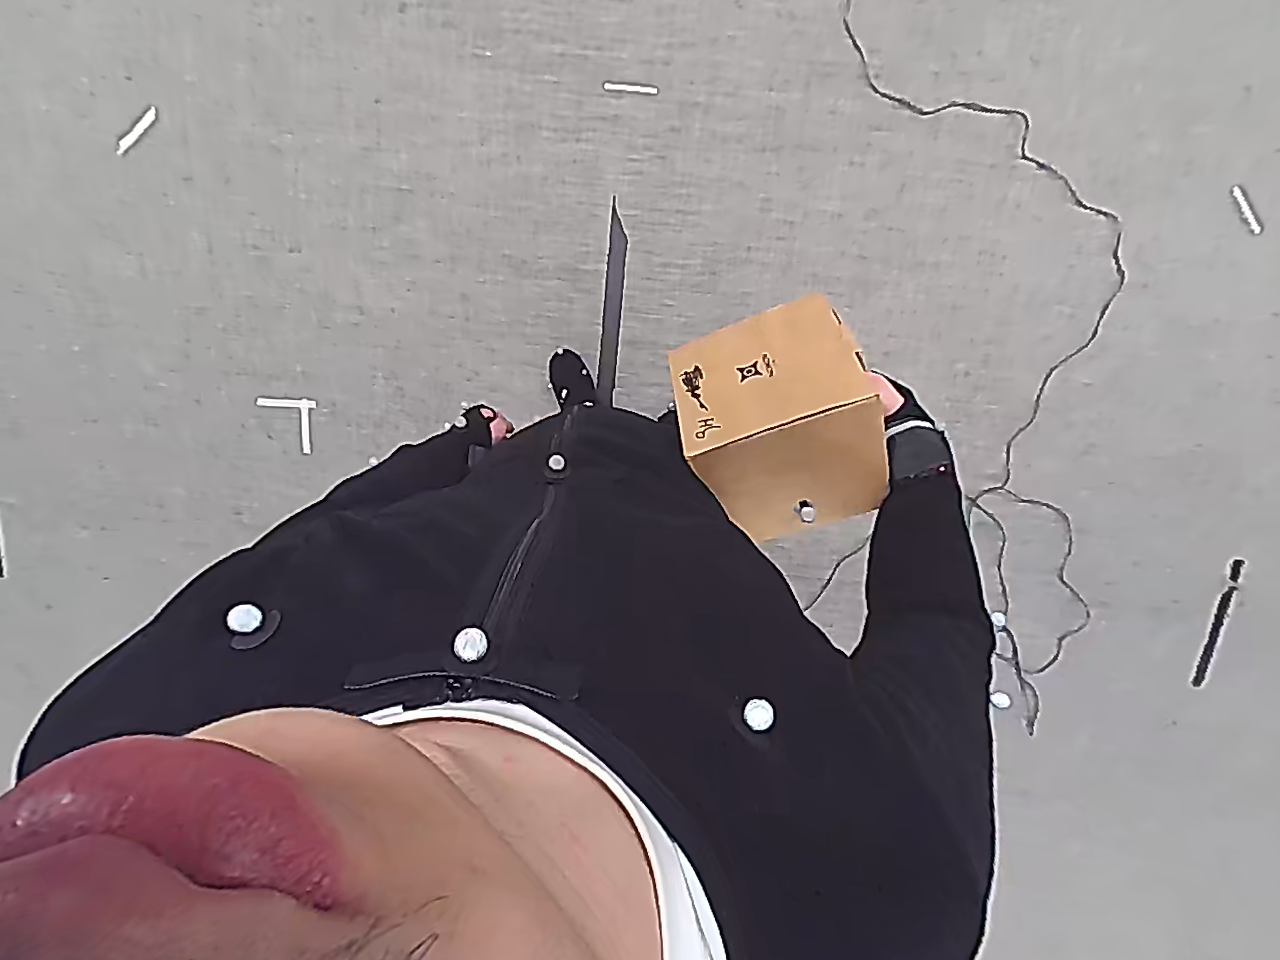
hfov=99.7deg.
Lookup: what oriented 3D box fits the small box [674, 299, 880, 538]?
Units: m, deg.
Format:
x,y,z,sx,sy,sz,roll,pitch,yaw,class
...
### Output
x,y,z,sx,sy,sz,roll,pitch,yaw,class
0.152,-0.061,0.600,0.179,0.168,0.176,-18,136,14,small box
